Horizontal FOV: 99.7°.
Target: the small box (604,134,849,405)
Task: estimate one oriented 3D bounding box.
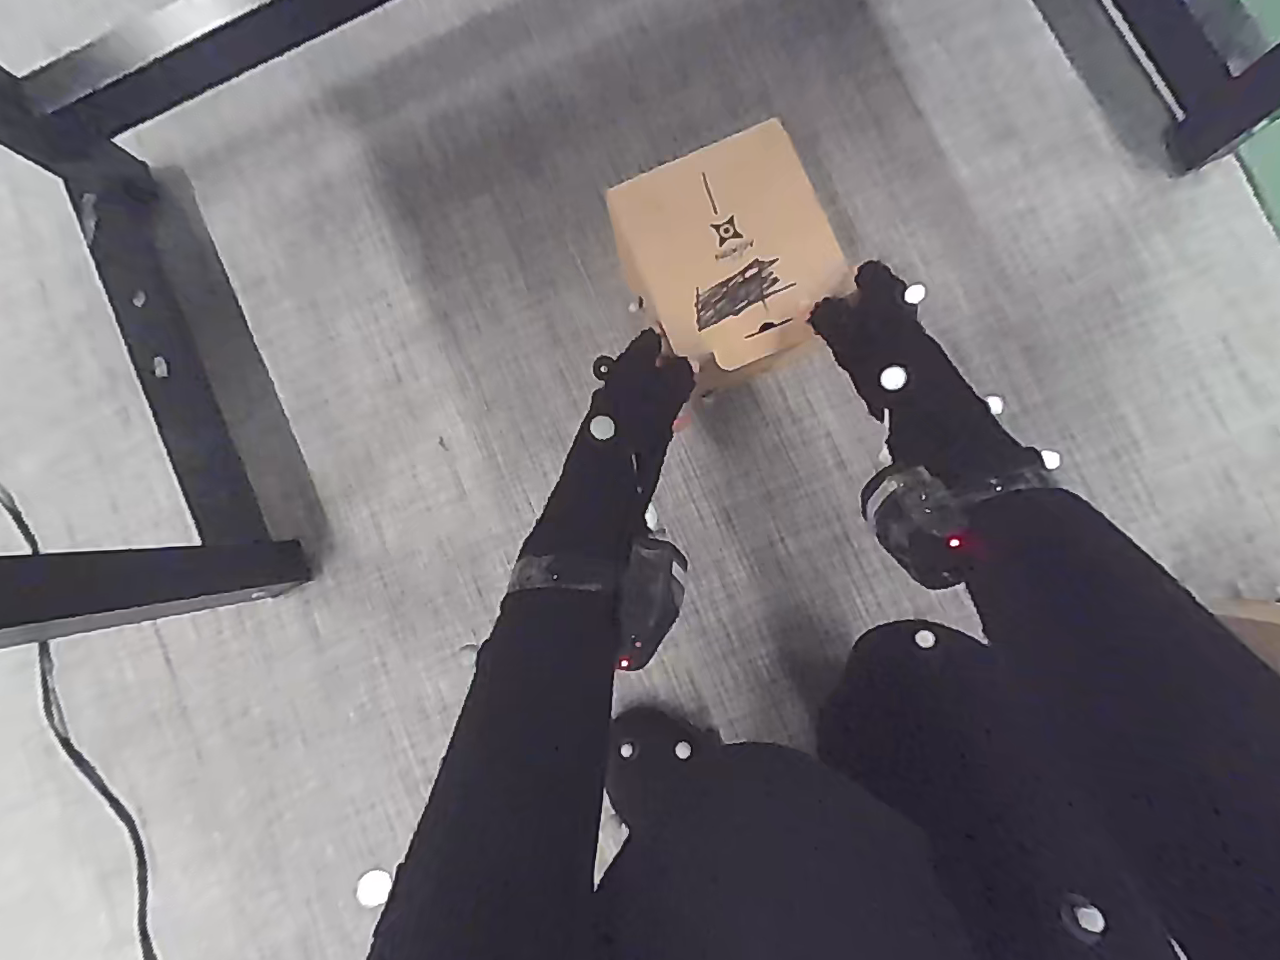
[{"bbox_3d":[0.080,-0.189,0.548,0.168,0.176,0.179,-22,83,2],"label":"small box"}]
